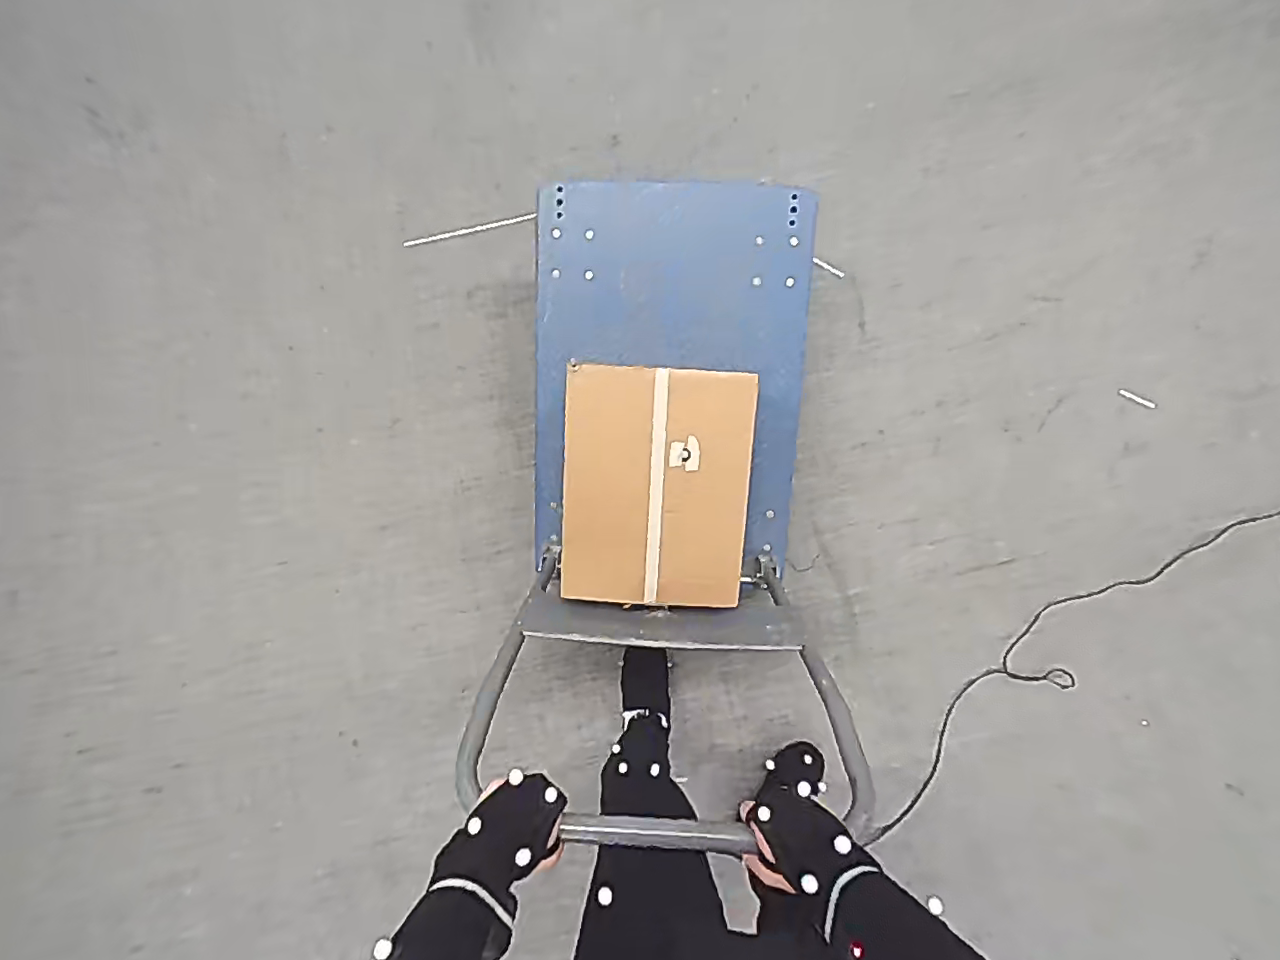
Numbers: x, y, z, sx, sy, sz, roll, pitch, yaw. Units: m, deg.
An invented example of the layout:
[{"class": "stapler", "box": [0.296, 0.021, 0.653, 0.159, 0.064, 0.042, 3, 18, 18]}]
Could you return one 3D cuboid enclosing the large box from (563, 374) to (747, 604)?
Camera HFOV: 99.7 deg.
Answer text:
[{"class": "large box", "box": [0.028, 0.002, 1.083, 0.320, 0.320, 0.408, 2, 99, 1]}]
